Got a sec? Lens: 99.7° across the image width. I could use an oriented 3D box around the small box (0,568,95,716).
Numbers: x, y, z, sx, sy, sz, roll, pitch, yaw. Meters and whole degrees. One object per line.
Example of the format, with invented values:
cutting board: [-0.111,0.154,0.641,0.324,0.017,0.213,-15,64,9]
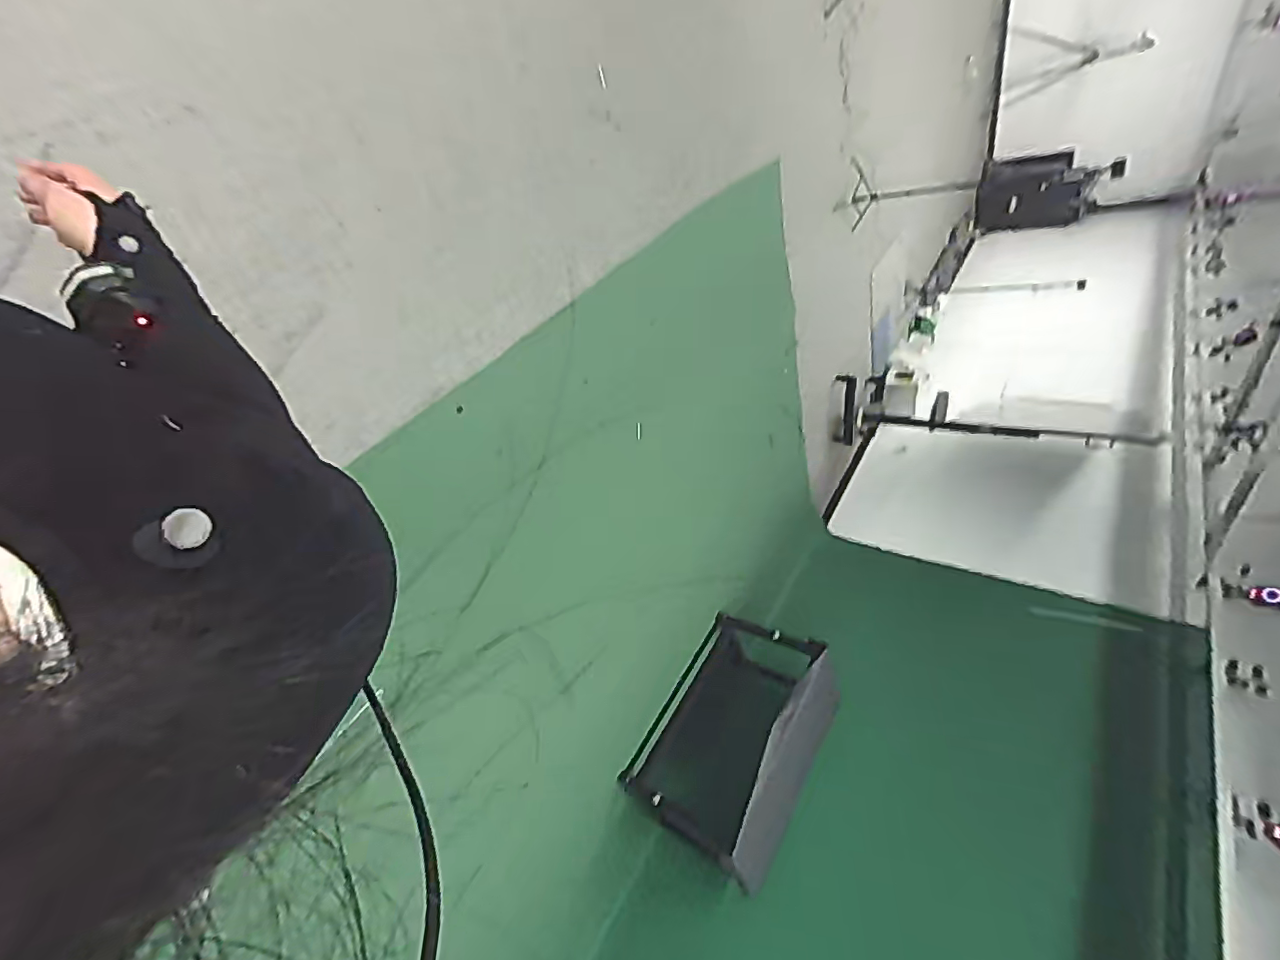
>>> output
small box: [-1.122,0.283,0.938,0.179,0.176,0.168,-49,135,-35]
